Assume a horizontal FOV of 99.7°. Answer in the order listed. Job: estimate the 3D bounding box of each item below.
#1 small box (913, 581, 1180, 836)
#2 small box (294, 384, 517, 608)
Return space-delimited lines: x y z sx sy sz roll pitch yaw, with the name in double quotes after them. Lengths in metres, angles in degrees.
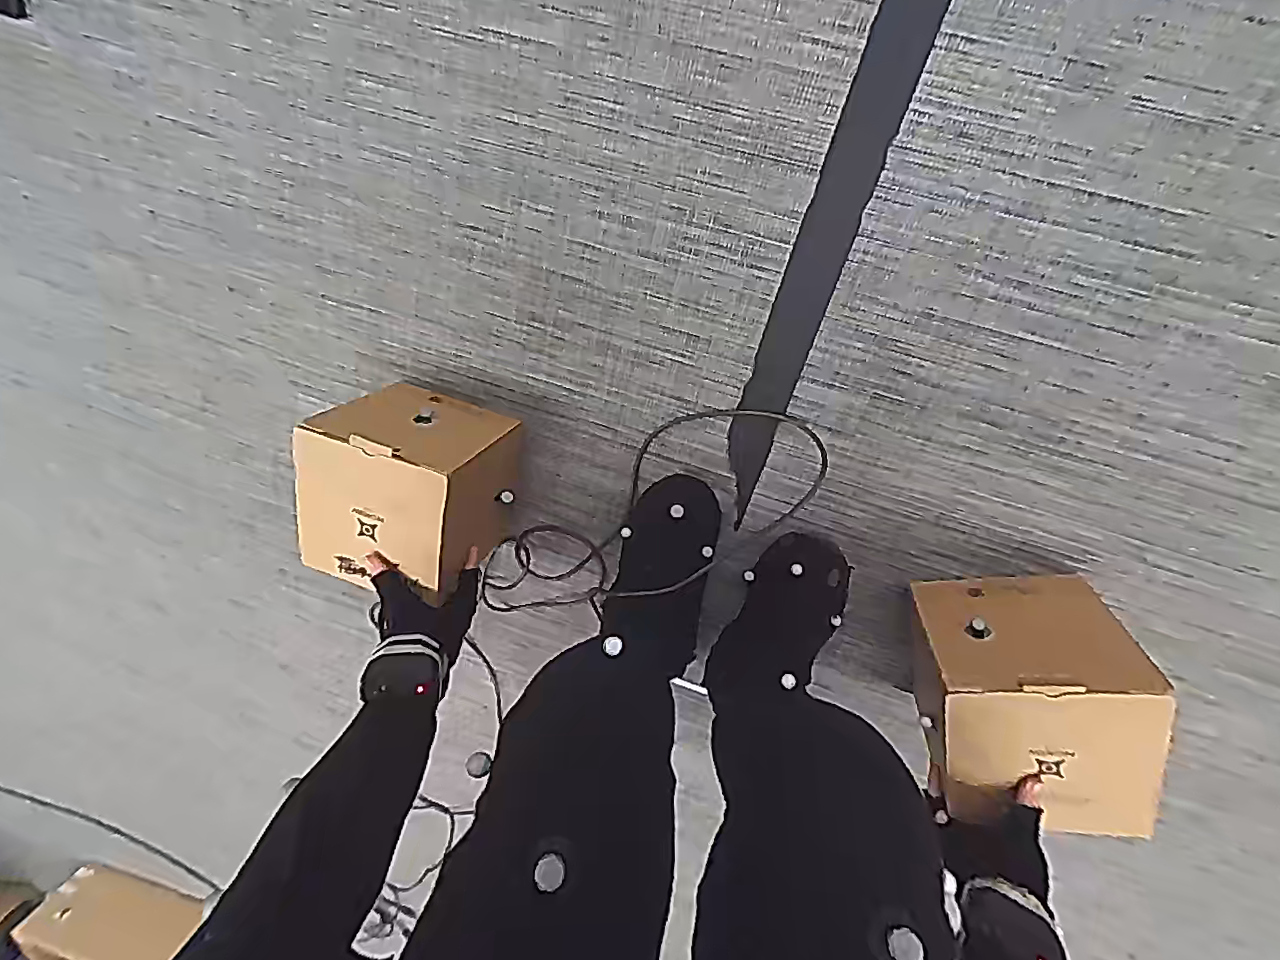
0.381 0.214 0.544 0.168 0.176 0.179 -7 113 19 "small box"
-0.256 0.006 0.615 0.168 0.176 0.179 19 116 6 "small box"
